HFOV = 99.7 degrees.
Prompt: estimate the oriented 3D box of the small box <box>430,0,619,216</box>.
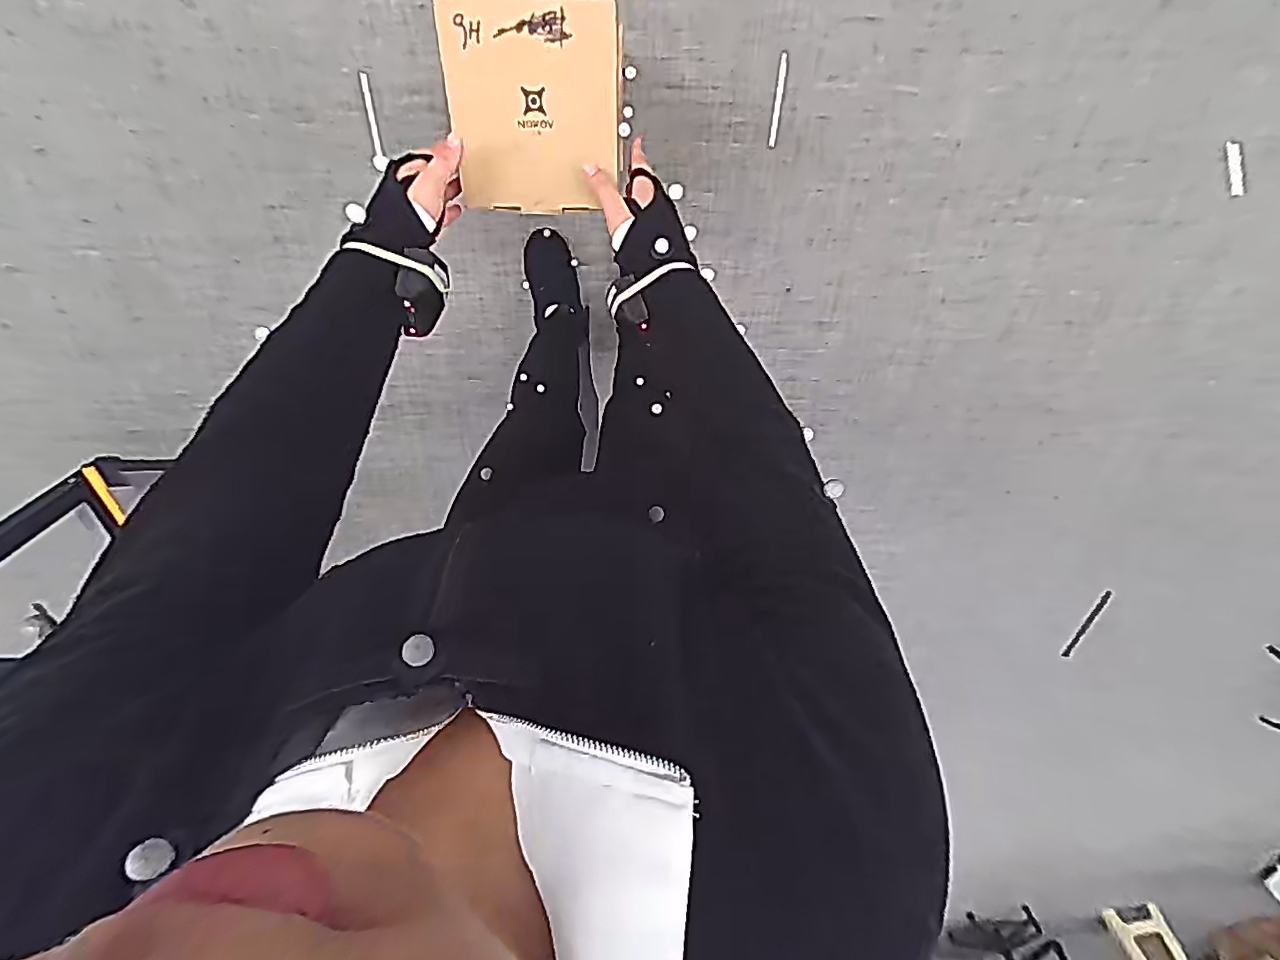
[{"bbox_3d":[-0.107,-0.401,0.589,0.168,0.176,0.179,0,126,-2],"label":"small box"}]
